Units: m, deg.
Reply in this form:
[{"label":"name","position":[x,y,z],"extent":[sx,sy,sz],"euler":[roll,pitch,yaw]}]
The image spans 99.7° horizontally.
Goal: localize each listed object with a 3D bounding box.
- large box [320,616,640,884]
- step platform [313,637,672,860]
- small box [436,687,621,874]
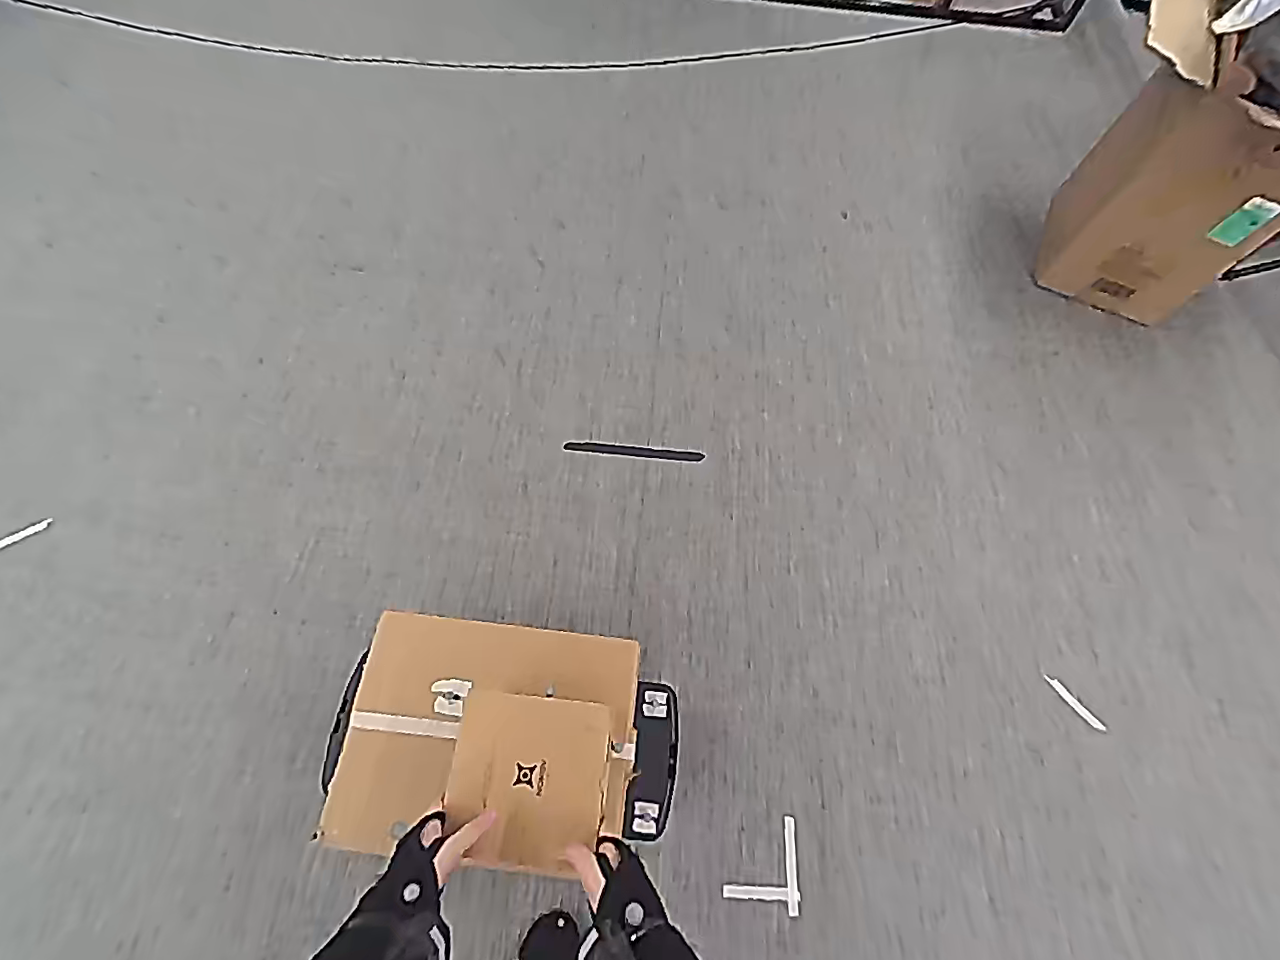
[{"label":"large box","position":[-0.212,0.427,0.900],"extent":[0.408,0.320,0.320],"euler":[6,65,1]},{"label":"step platform","position":[-0.277,0.536,1.110],"extent":[0.684,0.204,0.286],"euler":[12,65,4]},{"label":"small box","position":[-0.120,0.357,0.664],"extent":[0.179,0.176,0.168],"euler":[7,64,1]}]
